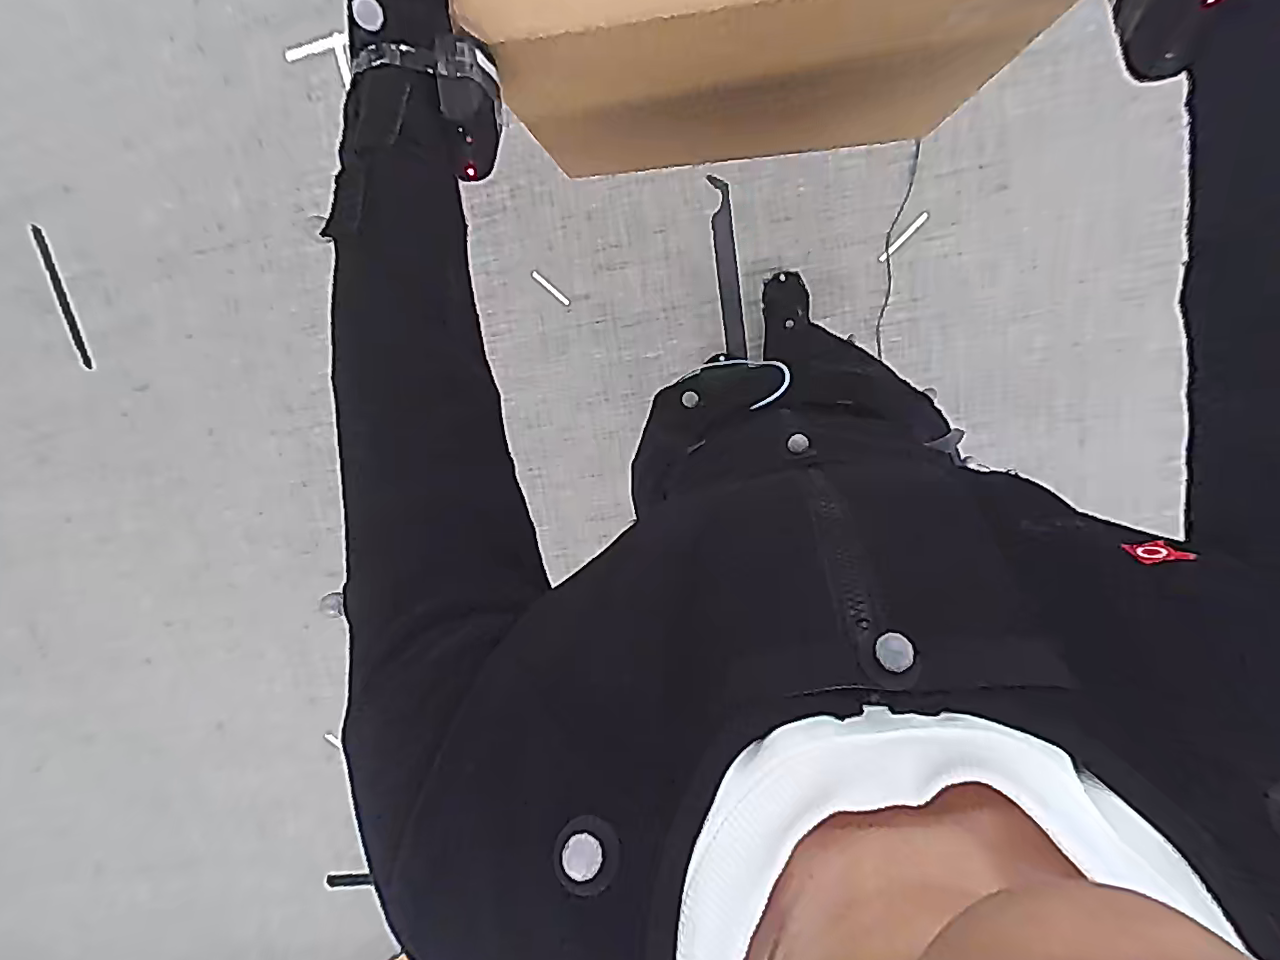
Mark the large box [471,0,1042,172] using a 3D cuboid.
[{"bbox_3d":[0.085,-0.487,0.440,0.408,0.320,0.320,-4,105,6],"label":"large box"}]
